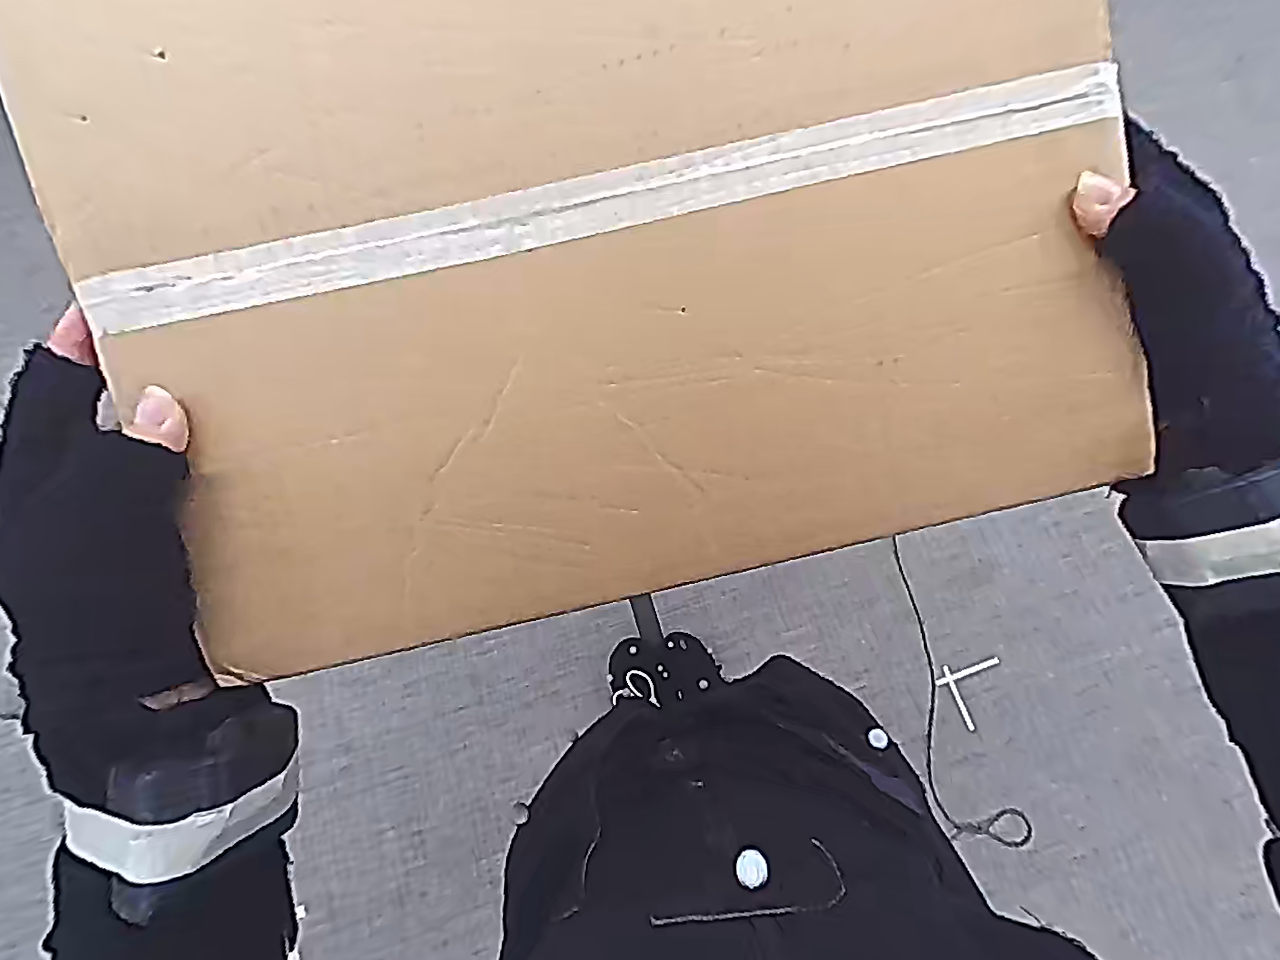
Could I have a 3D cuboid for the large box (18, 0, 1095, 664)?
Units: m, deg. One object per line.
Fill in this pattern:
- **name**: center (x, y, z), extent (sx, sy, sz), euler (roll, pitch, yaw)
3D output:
- **large box**: center (-0.020, -0.130, 0.370), extent (0.408, 0.320, 0.320), euler (-13, 97, -2)
